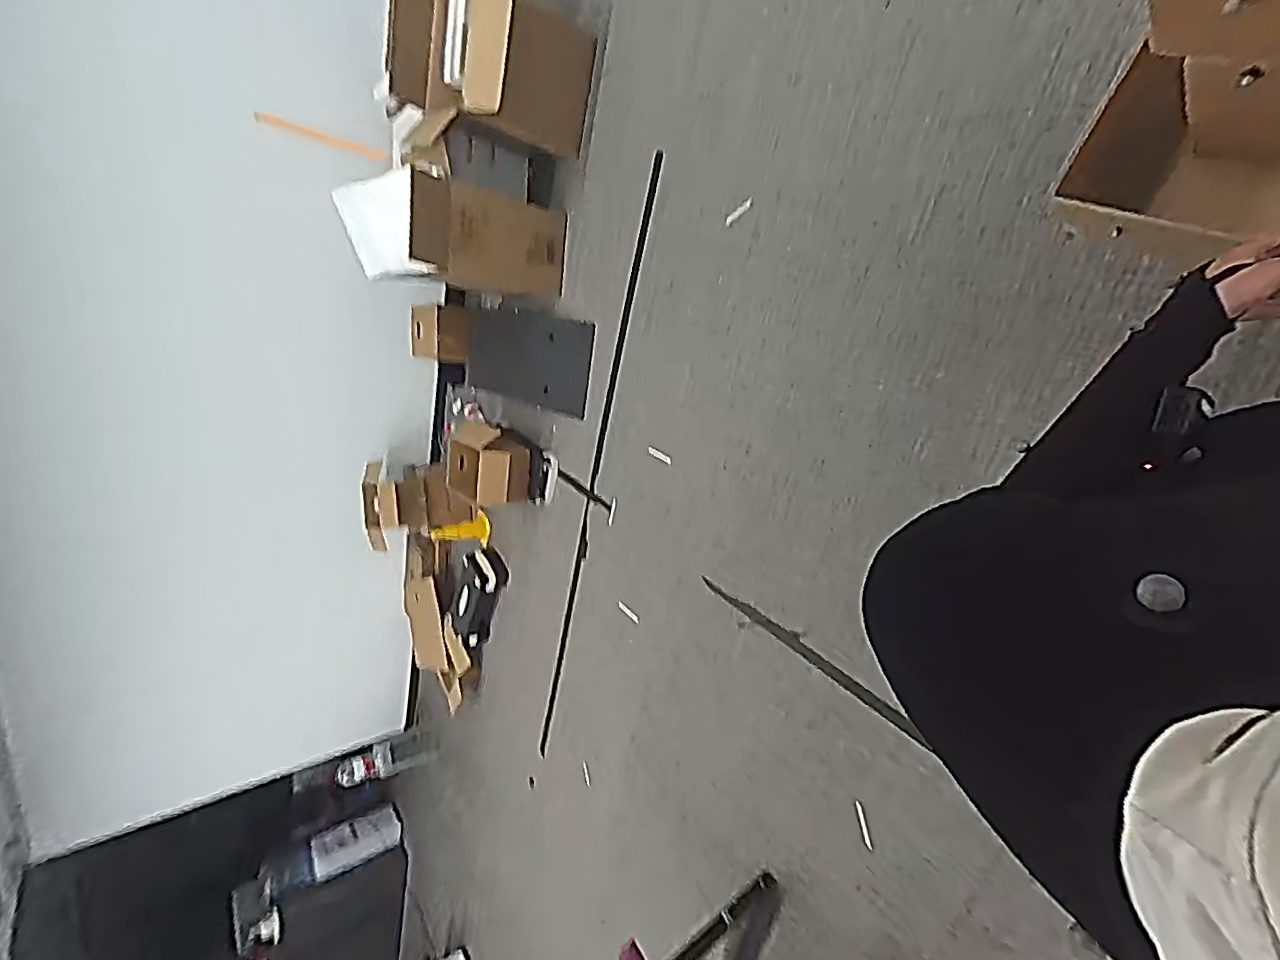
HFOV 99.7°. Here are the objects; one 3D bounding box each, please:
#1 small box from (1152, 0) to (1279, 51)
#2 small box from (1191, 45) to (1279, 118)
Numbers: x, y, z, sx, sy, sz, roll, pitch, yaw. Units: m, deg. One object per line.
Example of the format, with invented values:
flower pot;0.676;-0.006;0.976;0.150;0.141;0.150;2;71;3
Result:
small box;0.640;-0.539;0.508;0.179;0.176;0.168;41;122;37
small box;0.773;-0.536;0.604;0.168;0.176;0.179;38;120;38
